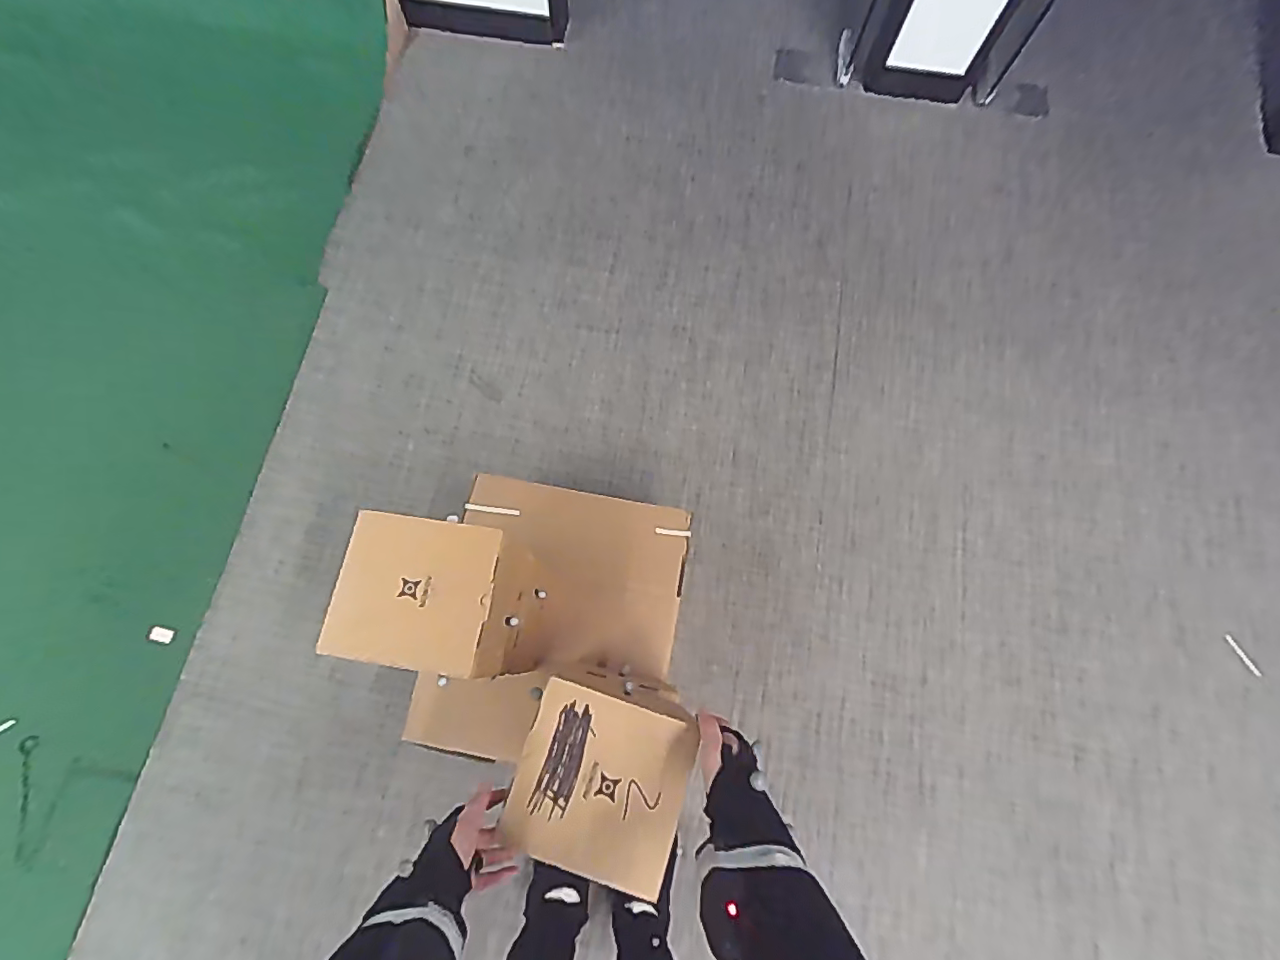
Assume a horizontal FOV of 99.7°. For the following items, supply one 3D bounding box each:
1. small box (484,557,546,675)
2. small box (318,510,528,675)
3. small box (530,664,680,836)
[{"bbox_3d":[-0.252,0.201,0.839,0.179,0.176,0.168,7,72,2],"label":"small box"},{"bbox_3d":[-0.255,0.148,0.685,0.179,0.176,0.168,8,72,1],"label":"small box"},{"bbox_3d":[-0.047,0.375,0.788,0.168,0.176,0.179,14,73,2],"label":"small box"}]
